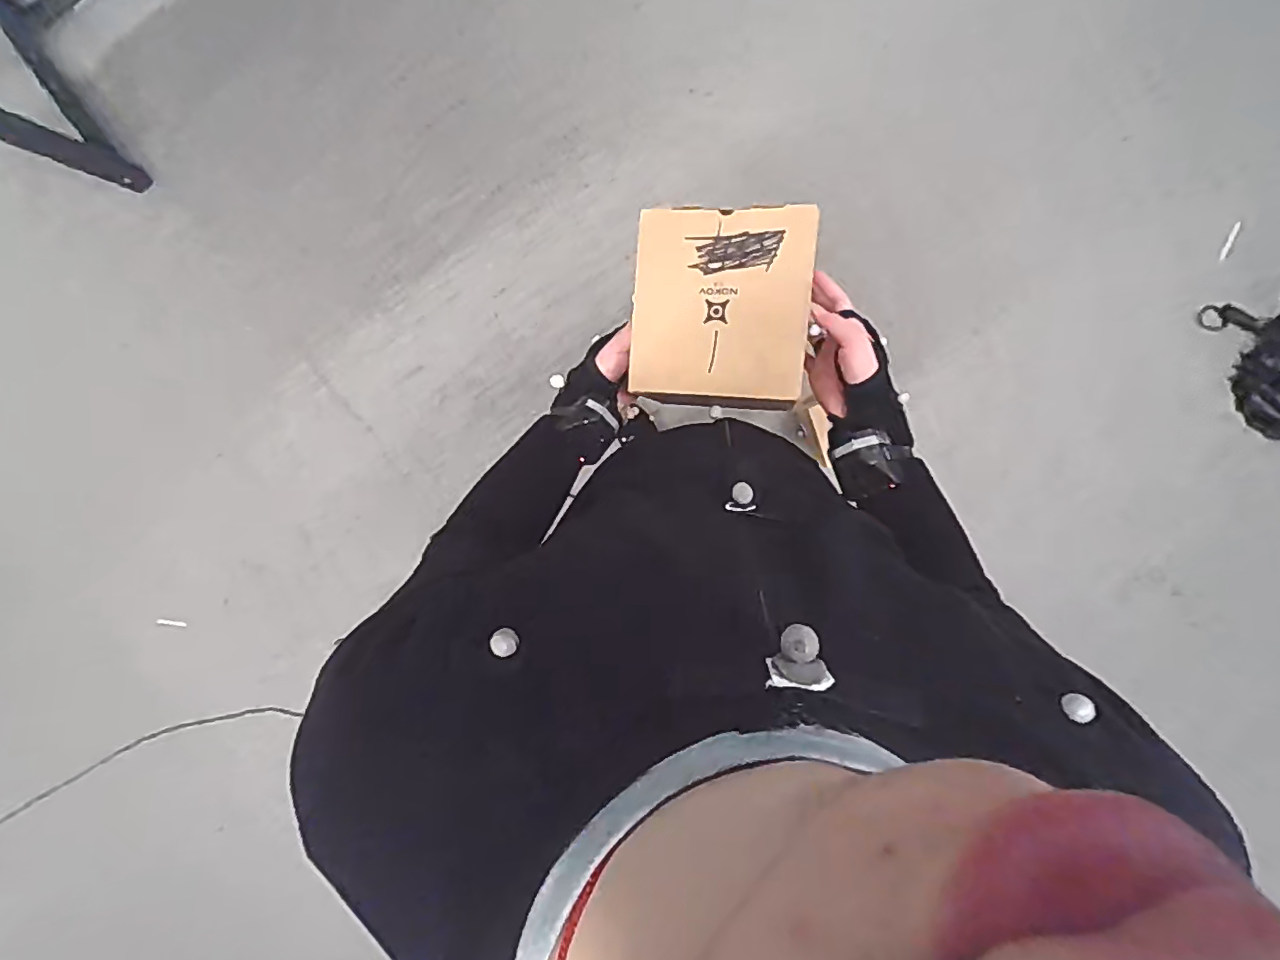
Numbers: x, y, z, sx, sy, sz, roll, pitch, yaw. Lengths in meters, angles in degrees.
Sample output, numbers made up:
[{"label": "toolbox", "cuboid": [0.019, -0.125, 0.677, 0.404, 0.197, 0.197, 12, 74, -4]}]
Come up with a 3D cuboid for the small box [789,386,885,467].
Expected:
[{"label": "small box", "cuboid": [0.523, -0.147, 1.455, 0.179, 0.176, 0.168, -20, 96, 6]}]
